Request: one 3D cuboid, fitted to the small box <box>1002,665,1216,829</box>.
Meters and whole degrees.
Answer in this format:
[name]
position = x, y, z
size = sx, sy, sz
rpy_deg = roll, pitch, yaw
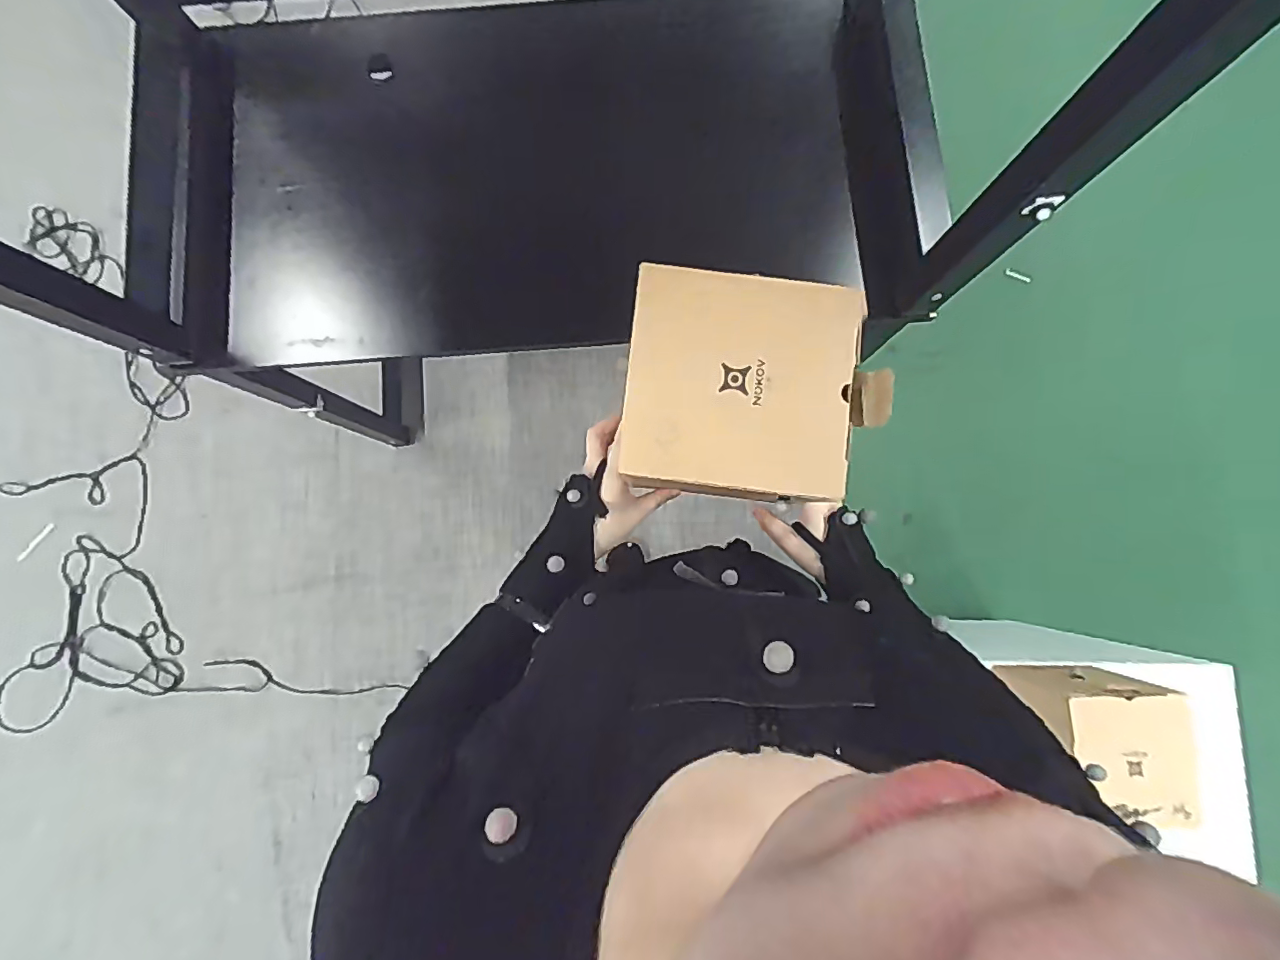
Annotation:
[small box]
position = 0.661, 0.373, 0.786
size = 0.168, 0.176, 0.179
rpy_deg = -1, 84, 2
